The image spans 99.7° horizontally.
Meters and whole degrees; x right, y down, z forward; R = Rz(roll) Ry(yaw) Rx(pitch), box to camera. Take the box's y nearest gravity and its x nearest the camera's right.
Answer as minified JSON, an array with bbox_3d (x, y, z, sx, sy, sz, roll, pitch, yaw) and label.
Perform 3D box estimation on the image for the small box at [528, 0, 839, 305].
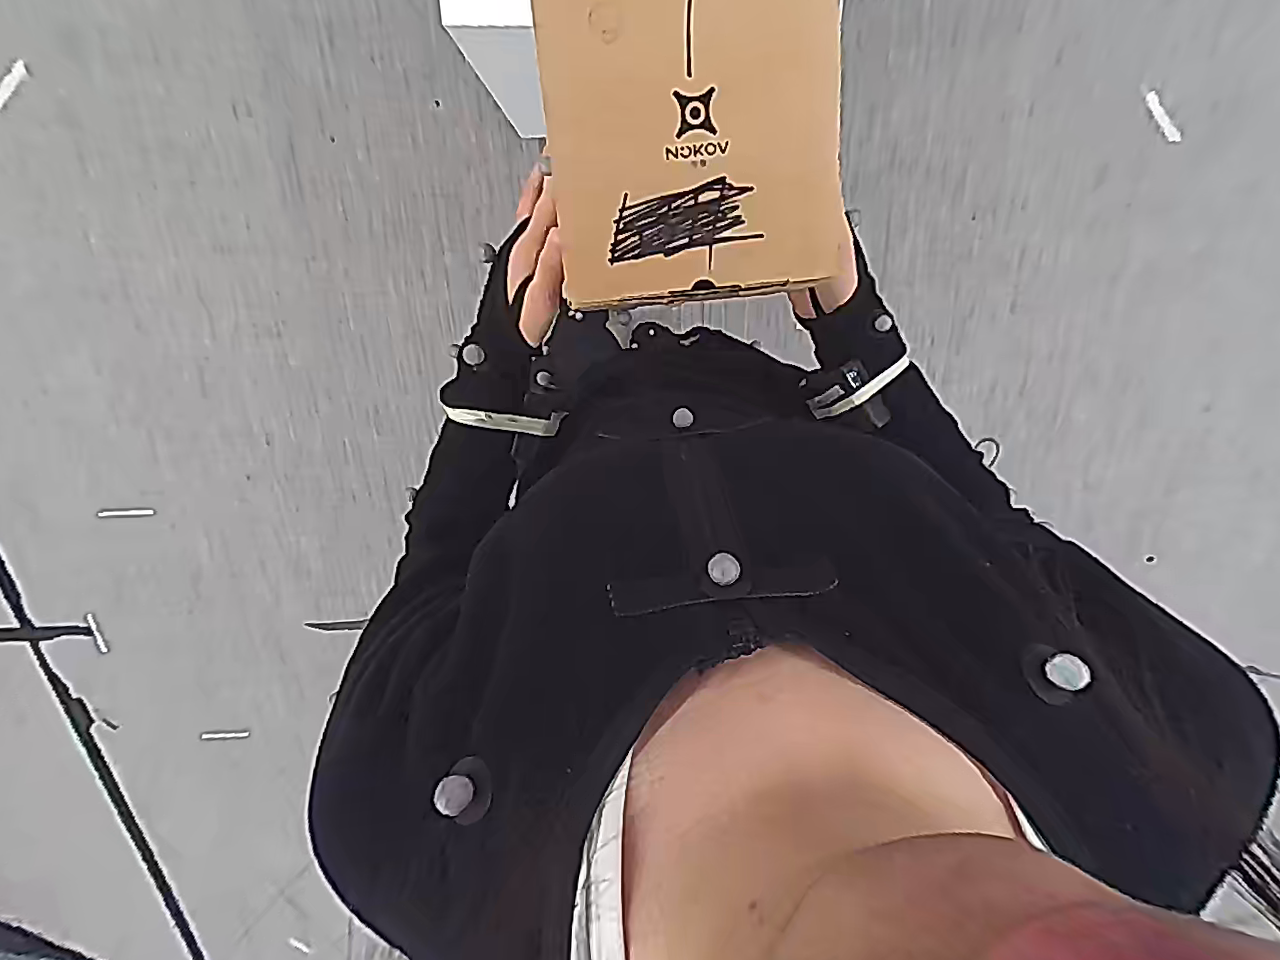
[{"bbox_3d":[0.027,-0.220,0.378,0.168,0.176,0.179,-6,106,0],"label":"small box"}]
